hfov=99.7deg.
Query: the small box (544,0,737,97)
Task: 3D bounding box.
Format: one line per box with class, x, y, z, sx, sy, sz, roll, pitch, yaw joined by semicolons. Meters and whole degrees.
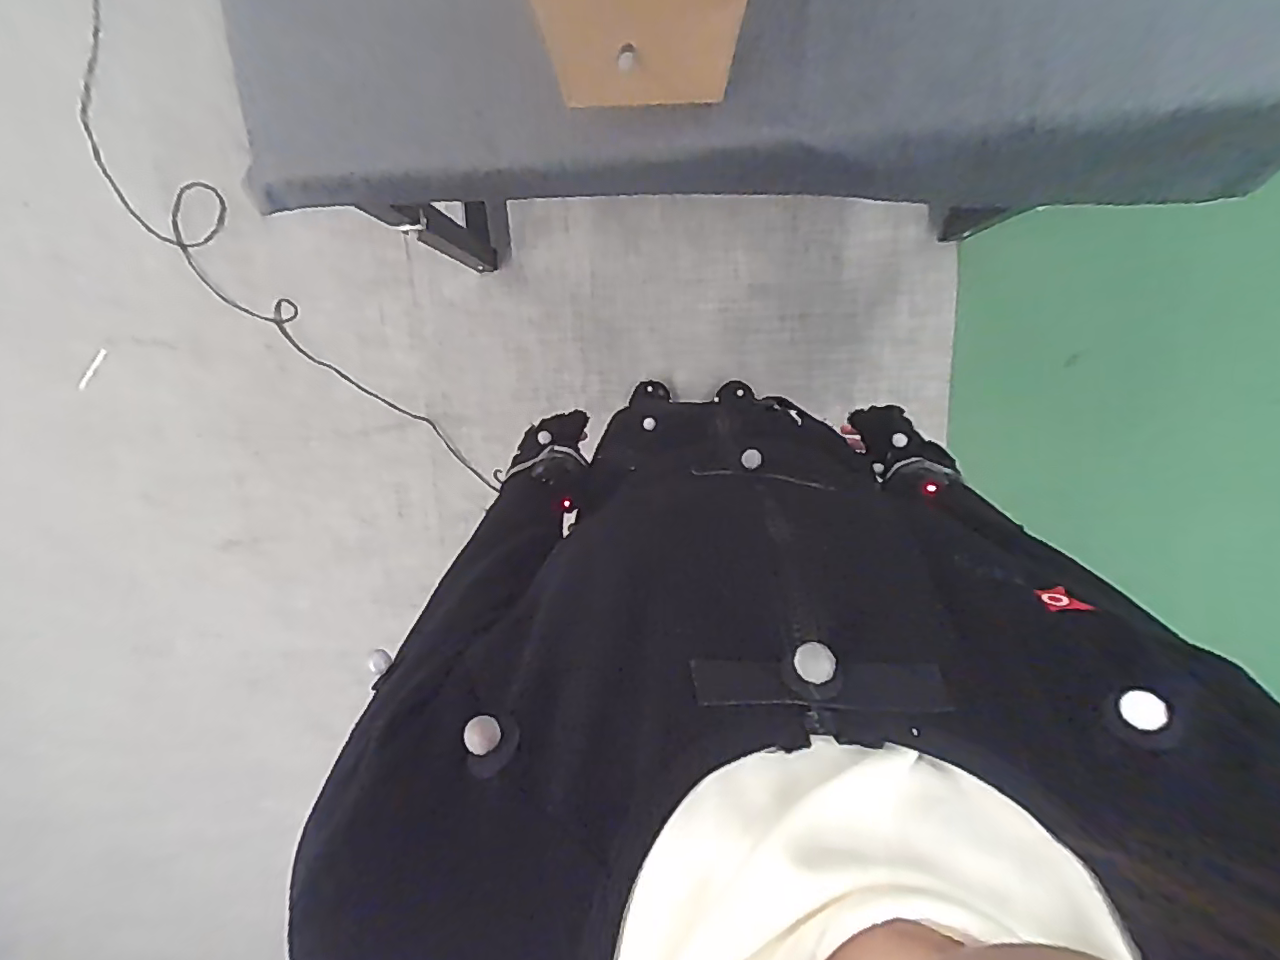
small box;0.003;-0.497;0.516;0.179;0.176;0.168;0;100;2
